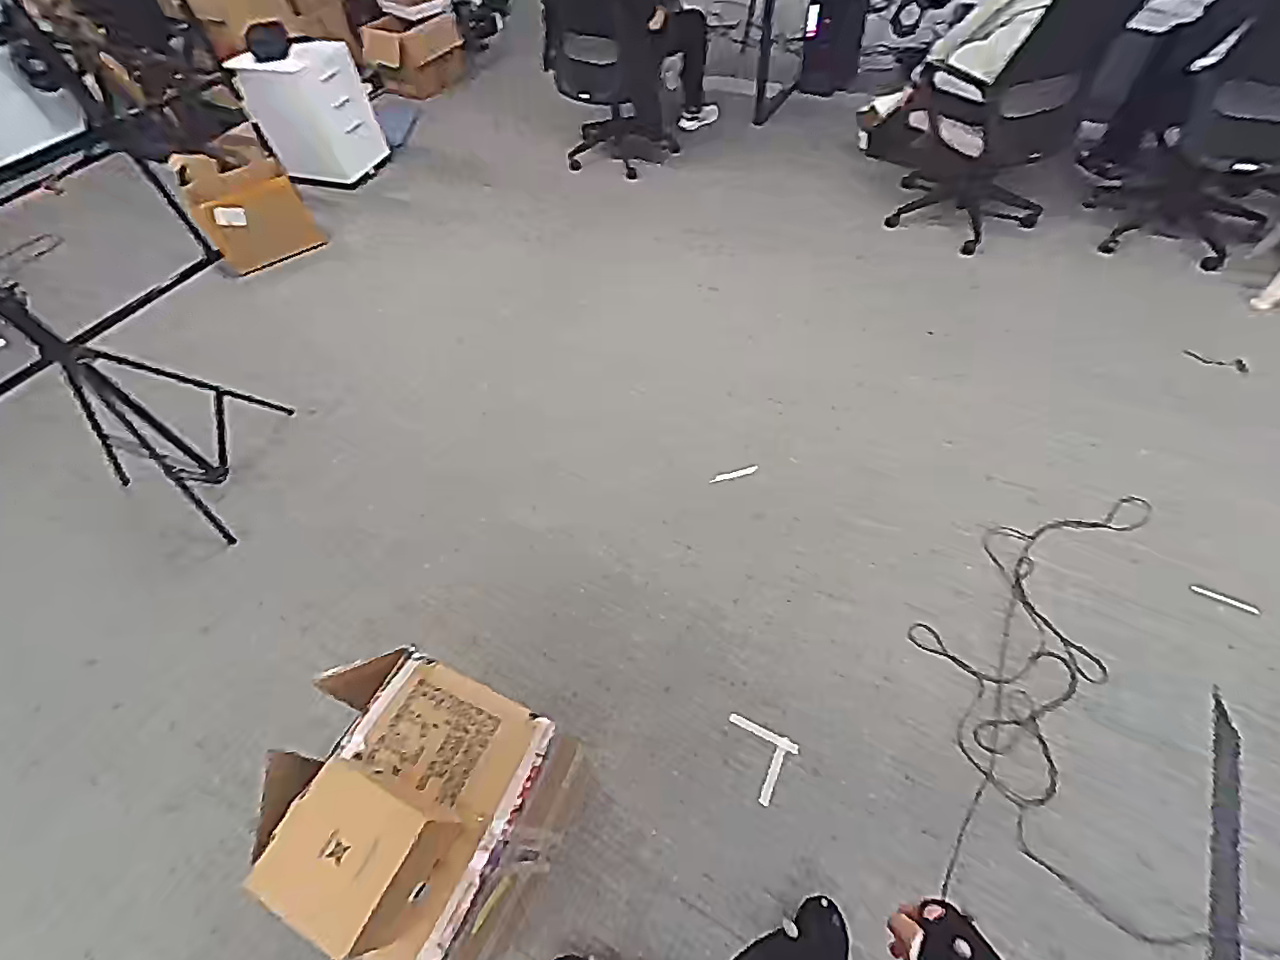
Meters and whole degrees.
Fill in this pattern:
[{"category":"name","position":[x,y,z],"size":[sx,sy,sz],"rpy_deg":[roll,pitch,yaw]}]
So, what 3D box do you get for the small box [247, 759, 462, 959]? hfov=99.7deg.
[{"category":"small box","position":[-0.389,0.530,0.770],"size":[0.179,0.176,0.168],"rpy_deg":[21,60,14]}]
